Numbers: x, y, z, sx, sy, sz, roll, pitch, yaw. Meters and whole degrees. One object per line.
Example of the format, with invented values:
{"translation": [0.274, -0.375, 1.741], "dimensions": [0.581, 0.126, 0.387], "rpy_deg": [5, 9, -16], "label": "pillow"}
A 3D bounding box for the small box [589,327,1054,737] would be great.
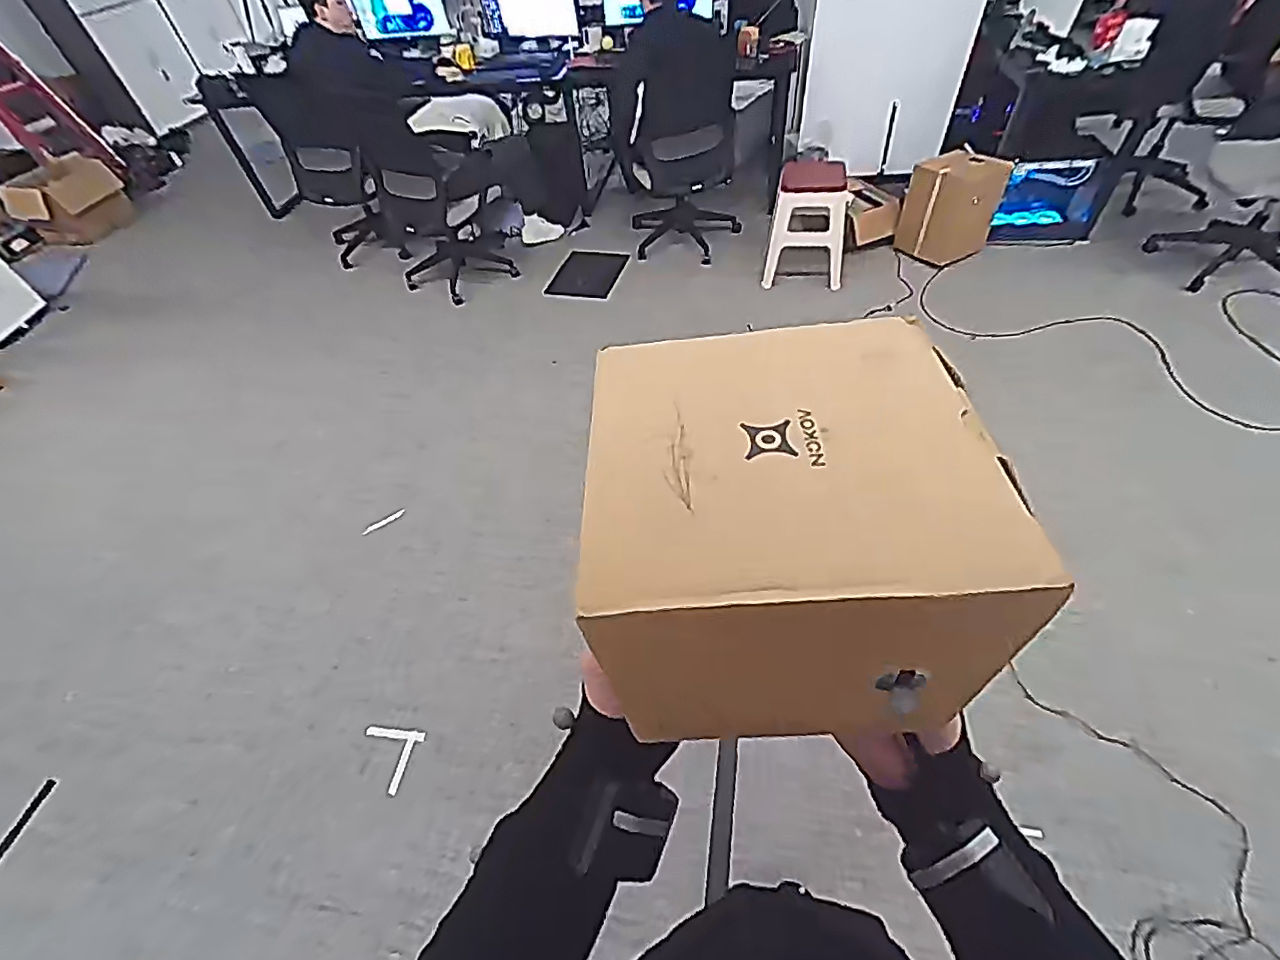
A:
{"translation": [0.076, 0.038, 0.314], "dimensions": [0.179, 0.176, 0.168], "rpy_deg": [-6, 48, 6], "label": "small box"}
